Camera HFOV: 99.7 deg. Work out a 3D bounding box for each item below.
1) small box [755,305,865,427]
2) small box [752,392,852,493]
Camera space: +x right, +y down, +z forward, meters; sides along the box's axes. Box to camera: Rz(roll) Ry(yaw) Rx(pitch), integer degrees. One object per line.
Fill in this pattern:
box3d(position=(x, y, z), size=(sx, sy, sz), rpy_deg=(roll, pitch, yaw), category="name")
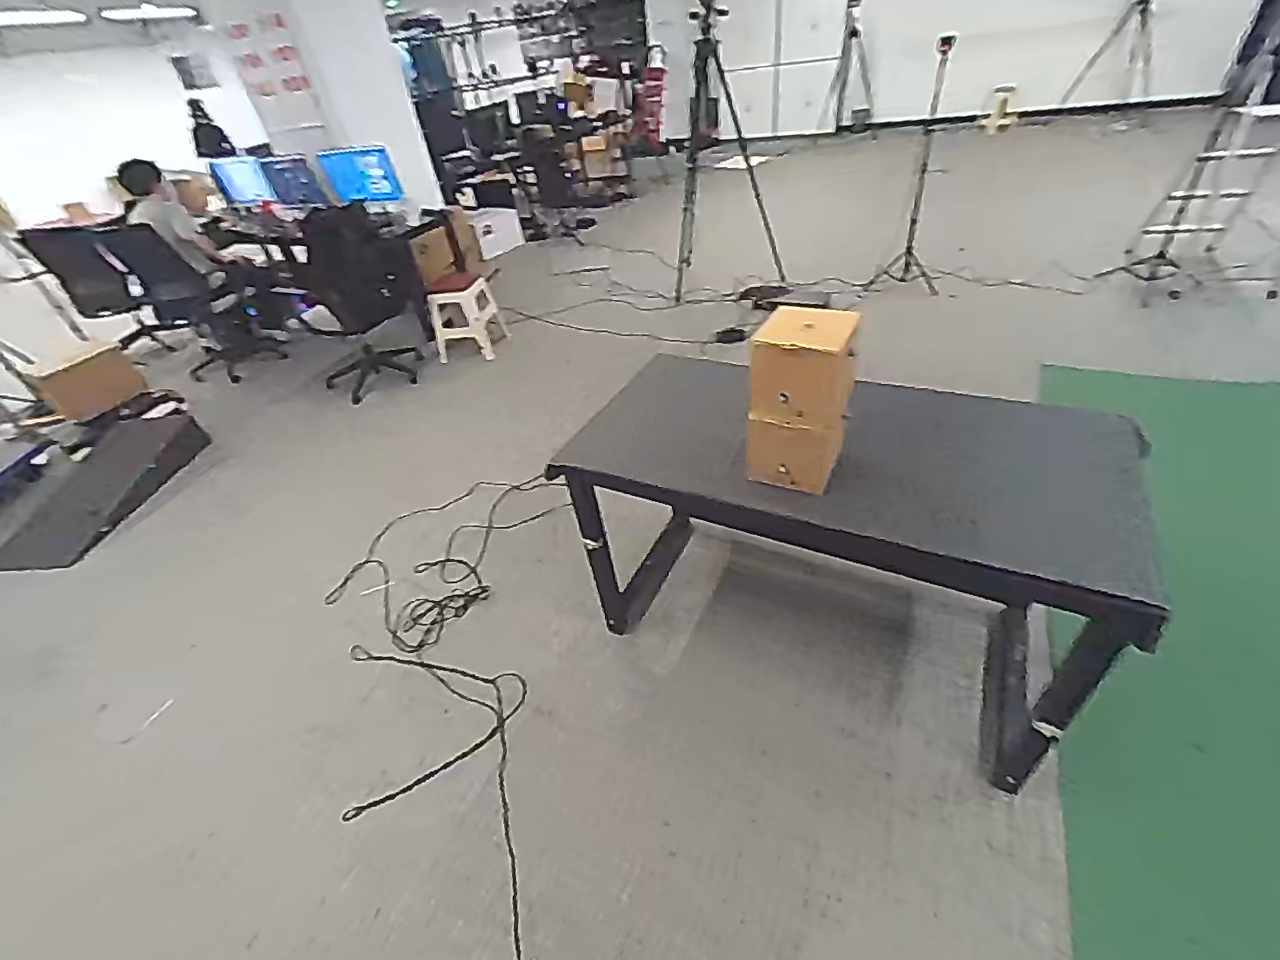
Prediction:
box3d(position=(0.335, -0.231, 1.085), size=(0.168, 0.176, 0.179), rpy_deg=(15, 44, 27), category="small box")
box3d(position=(0.348, -0.100, 1.180), size=(0.168, 0.176, 0.179), rpy_deg=(14, 44, 27), category="small box")
